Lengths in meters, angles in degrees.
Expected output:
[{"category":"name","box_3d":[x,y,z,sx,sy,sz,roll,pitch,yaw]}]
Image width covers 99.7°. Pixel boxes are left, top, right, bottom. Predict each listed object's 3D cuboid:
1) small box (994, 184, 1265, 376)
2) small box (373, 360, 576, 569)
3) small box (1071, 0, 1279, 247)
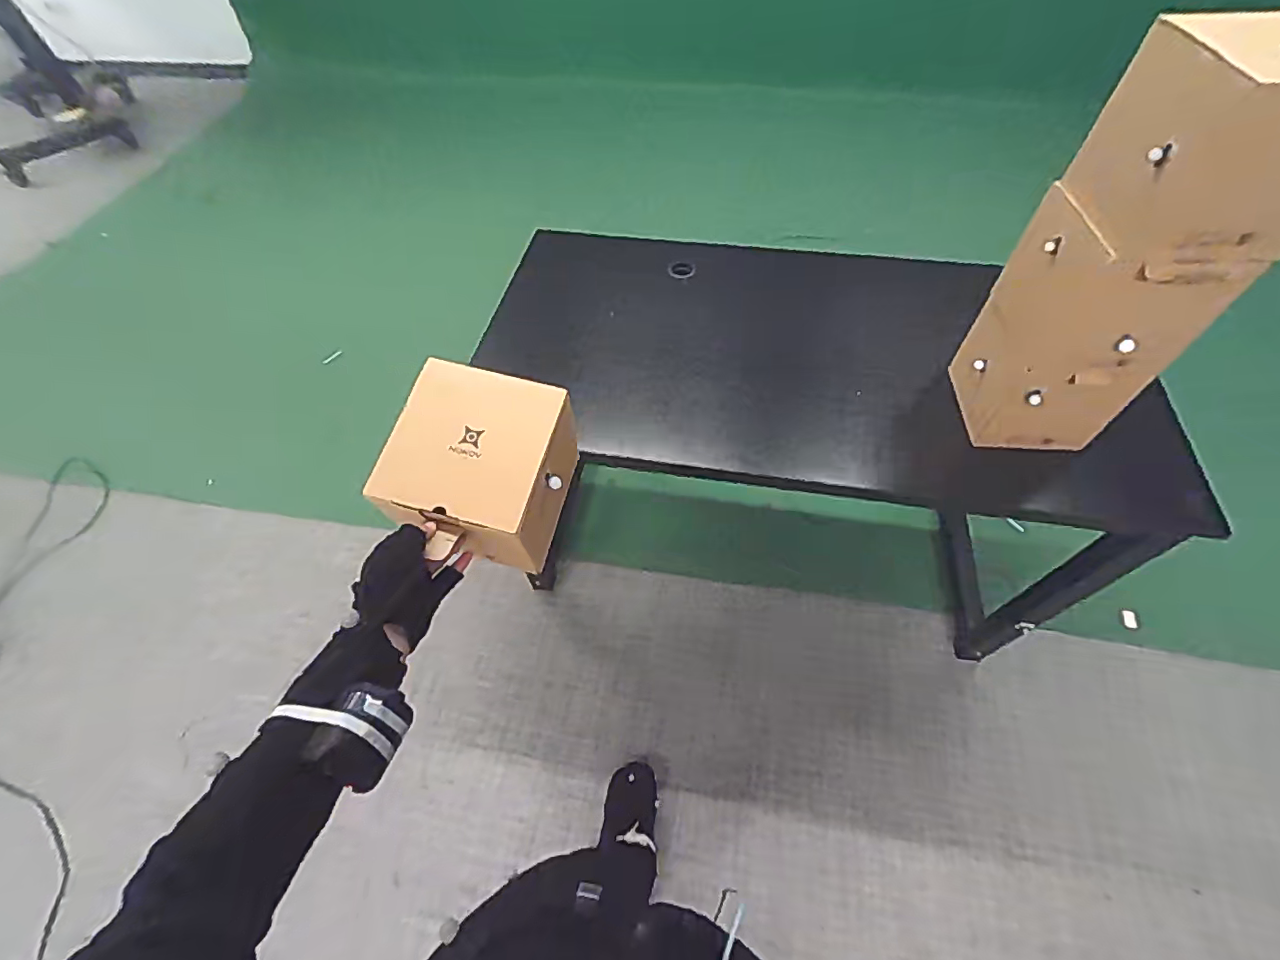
[{"category":"small box","box_3d":[0.601,-0.257,0.700,0.168,0.176,0.179,1,56,4]},{"category":"small box","box_3d":[-0.178,-0.011,0.651,0.168,0.176,0.179,14,68,3]},{"category":"small box","box_3d":[0.600,-0.357,0.550,0.168,0.176,0.179,1,55,3]}]
